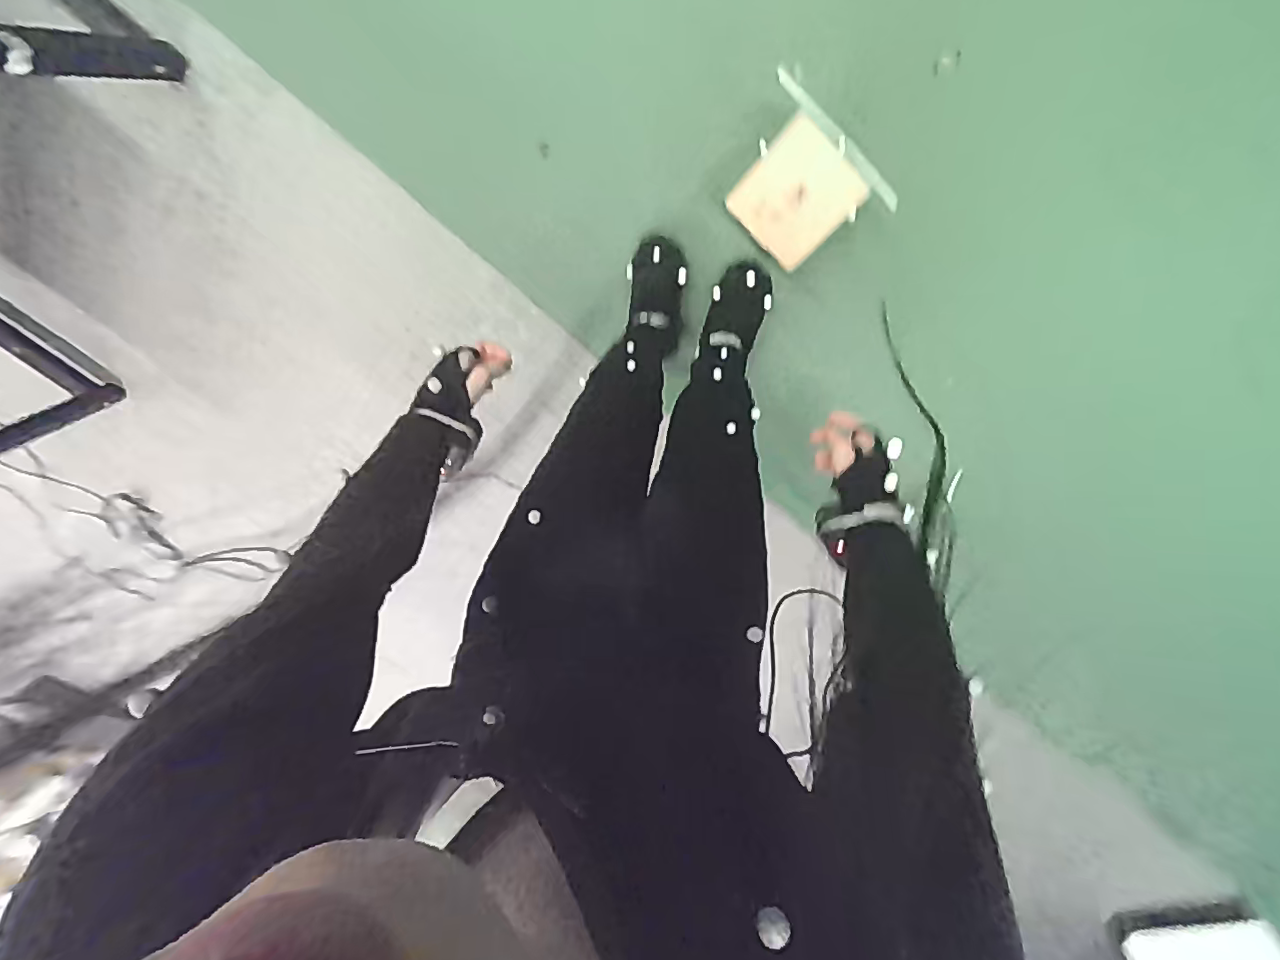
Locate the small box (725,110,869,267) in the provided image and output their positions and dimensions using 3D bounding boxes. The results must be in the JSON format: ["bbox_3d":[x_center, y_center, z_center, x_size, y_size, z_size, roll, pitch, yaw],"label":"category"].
[{"bbox_3d":[0.270,-0.518,0.959,0.168,0.176,0.179,41,123,-14],"label":"small box"}]
